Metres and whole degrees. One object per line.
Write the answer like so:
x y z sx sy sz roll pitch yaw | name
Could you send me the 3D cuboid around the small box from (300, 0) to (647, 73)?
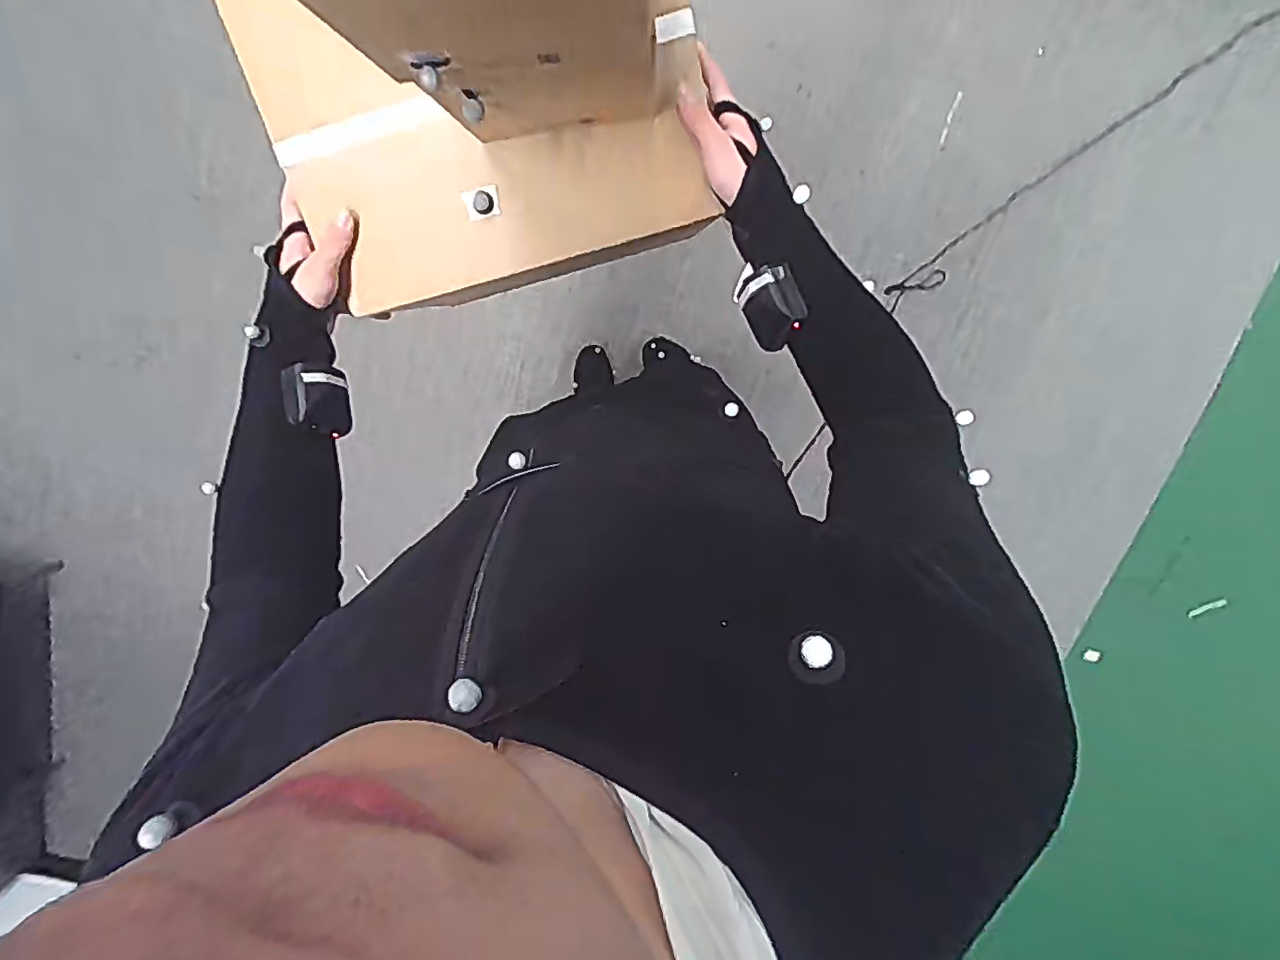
-0.082 -0.306 0.235 0.168 0.176 0.179 -3 109 2 | small box
